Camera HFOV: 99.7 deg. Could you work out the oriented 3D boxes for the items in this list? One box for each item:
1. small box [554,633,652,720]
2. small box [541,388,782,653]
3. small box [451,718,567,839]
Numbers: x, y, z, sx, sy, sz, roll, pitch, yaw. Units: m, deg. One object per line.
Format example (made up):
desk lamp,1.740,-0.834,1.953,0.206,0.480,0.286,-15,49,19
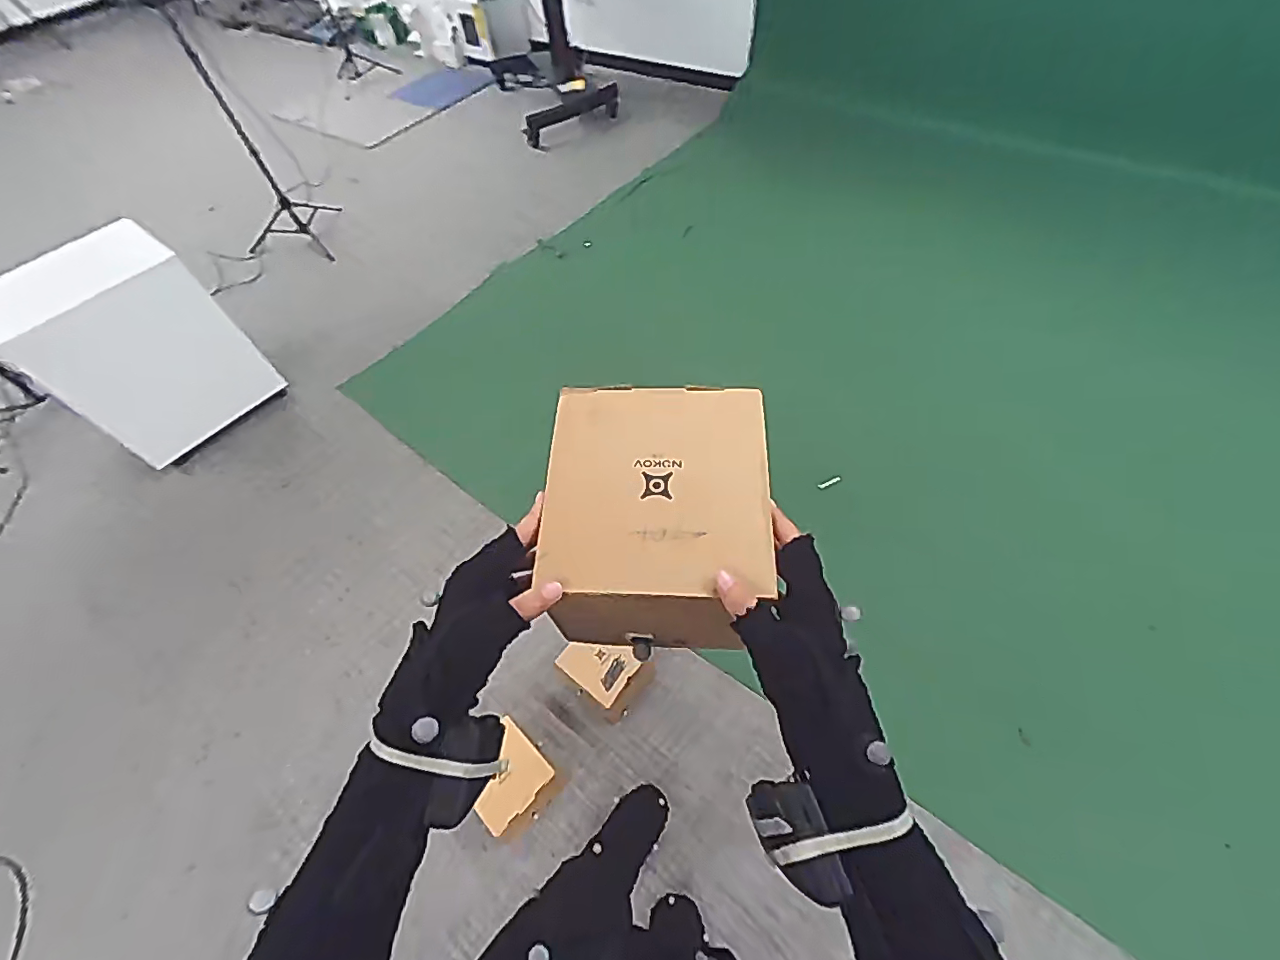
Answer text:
small box,-0.085,0.476,1.355,0.179,0.176,0.168,31,63,24
small box,0.021,0.041,0.471,0.168,0.176,0.179,1,62,4
small box,-0.291,0.683,1.228,0.179,0.176,0.168,36,65,25
